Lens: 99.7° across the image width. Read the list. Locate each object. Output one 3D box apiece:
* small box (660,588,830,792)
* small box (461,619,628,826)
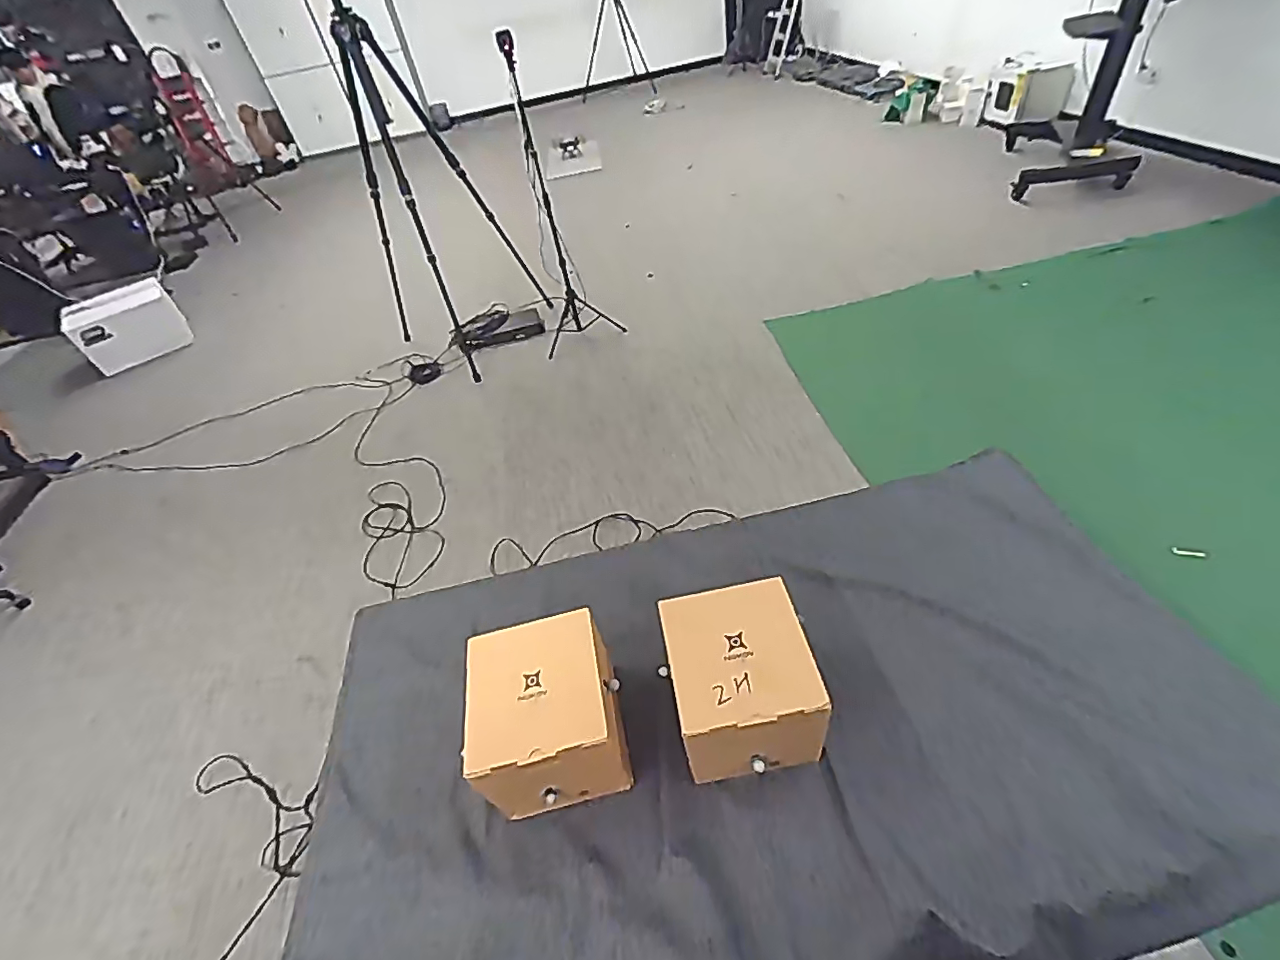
[{"bbox_3d":[0.125,0.269,0.694,0.168,0.176,0.179,-11,44,1],"label":"small box"},{"bbox_3d":[-0.119,0.314,0.703,0.168,0.176,0.179,-14,44,-2],"label":"small box"}]
